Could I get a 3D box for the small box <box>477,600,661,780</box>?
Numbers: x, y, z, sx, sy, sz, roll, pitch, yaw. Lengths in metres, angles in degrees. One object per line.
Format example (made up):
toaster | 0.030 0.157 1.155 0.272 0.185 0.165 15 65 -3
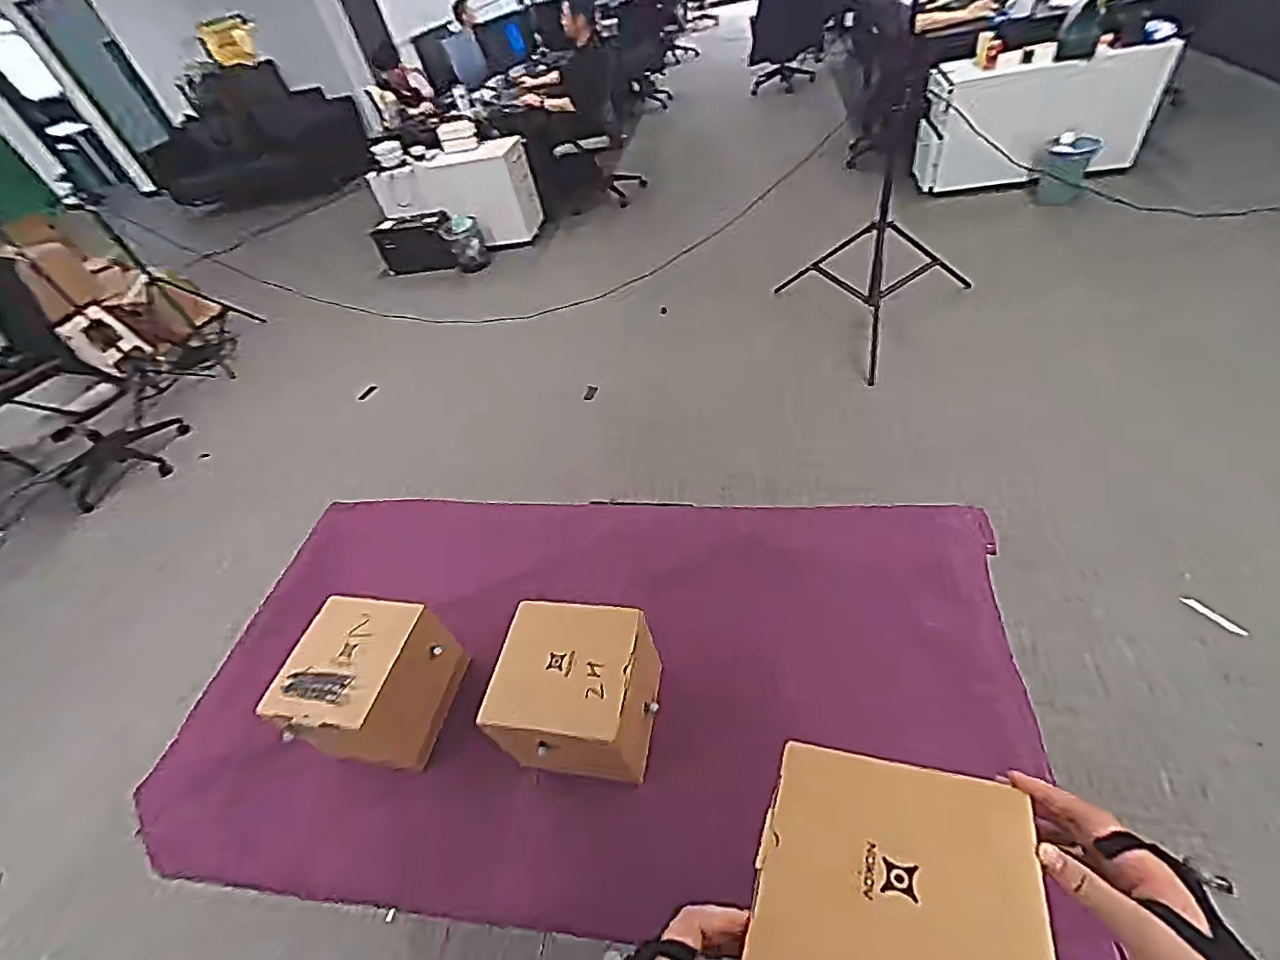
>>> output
small box | -0.080 0.279 0.721 0.179 0.176 0.168 1 48 15
